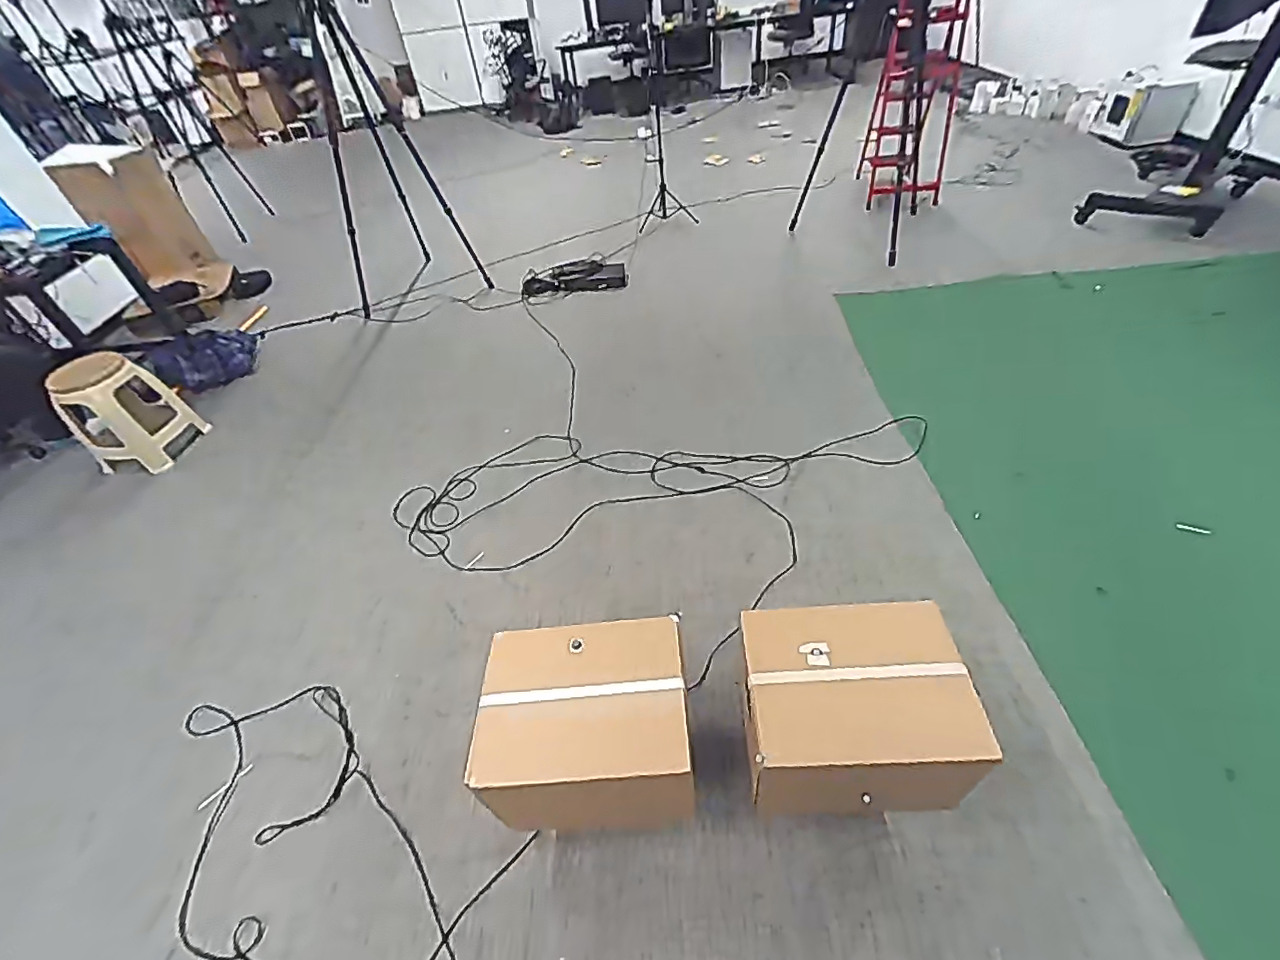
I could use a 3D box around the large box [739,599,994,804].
[{"bbox_3d":[0.433,0.479,1.154,0.408,0.320,0.320,-4,45,5],"label":"large box"}]
